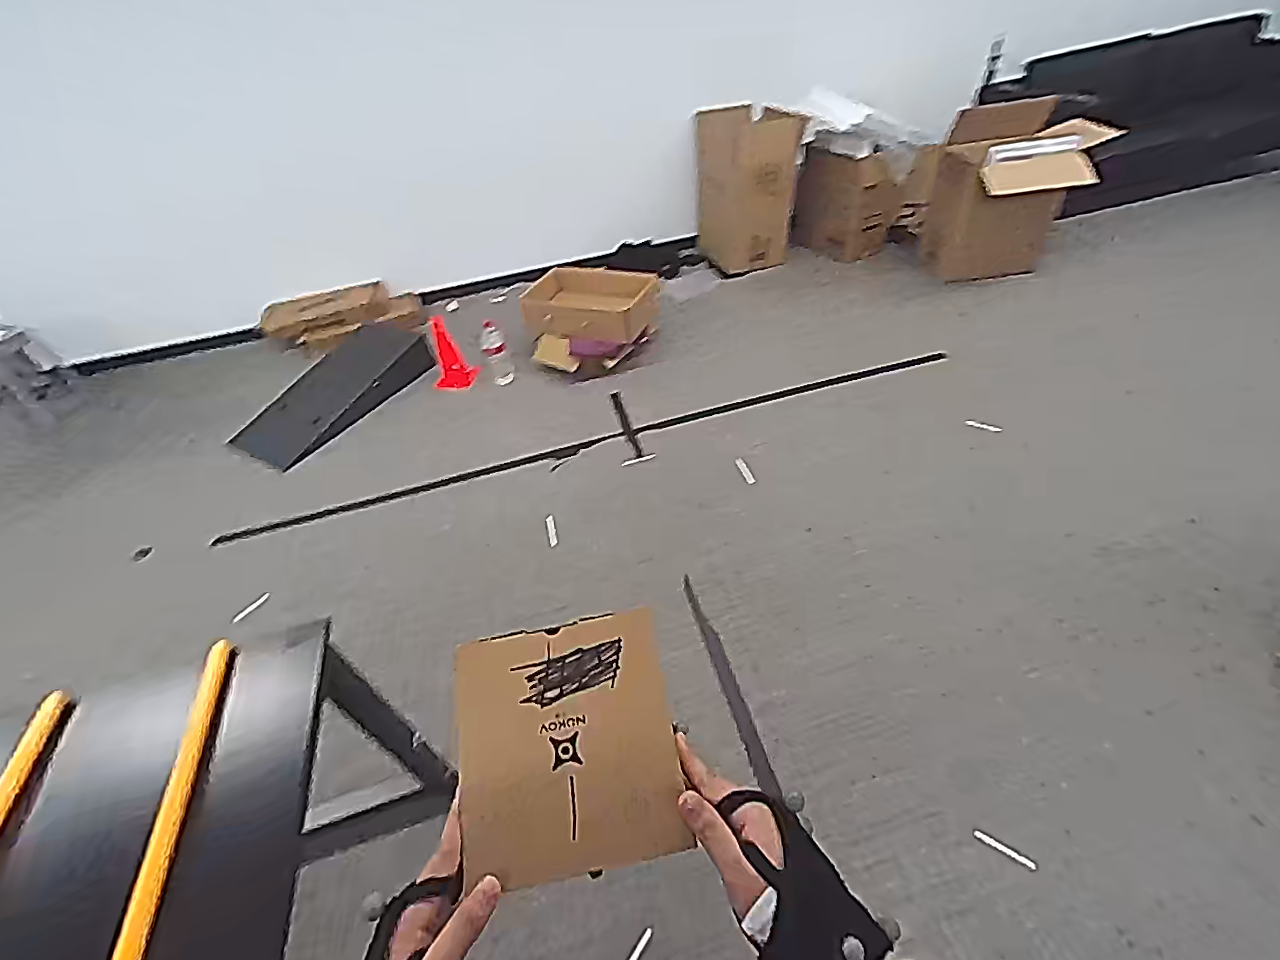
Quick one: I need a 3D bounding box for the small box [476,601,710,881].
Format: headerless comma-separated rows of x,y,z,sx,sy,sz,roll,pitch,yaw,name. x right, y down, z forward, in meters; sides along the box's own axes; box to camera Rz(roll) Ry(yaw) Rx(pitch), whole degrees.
-0.041,0.229,0.489,0.168,0.176,0.179,-11,63,-2,small box
